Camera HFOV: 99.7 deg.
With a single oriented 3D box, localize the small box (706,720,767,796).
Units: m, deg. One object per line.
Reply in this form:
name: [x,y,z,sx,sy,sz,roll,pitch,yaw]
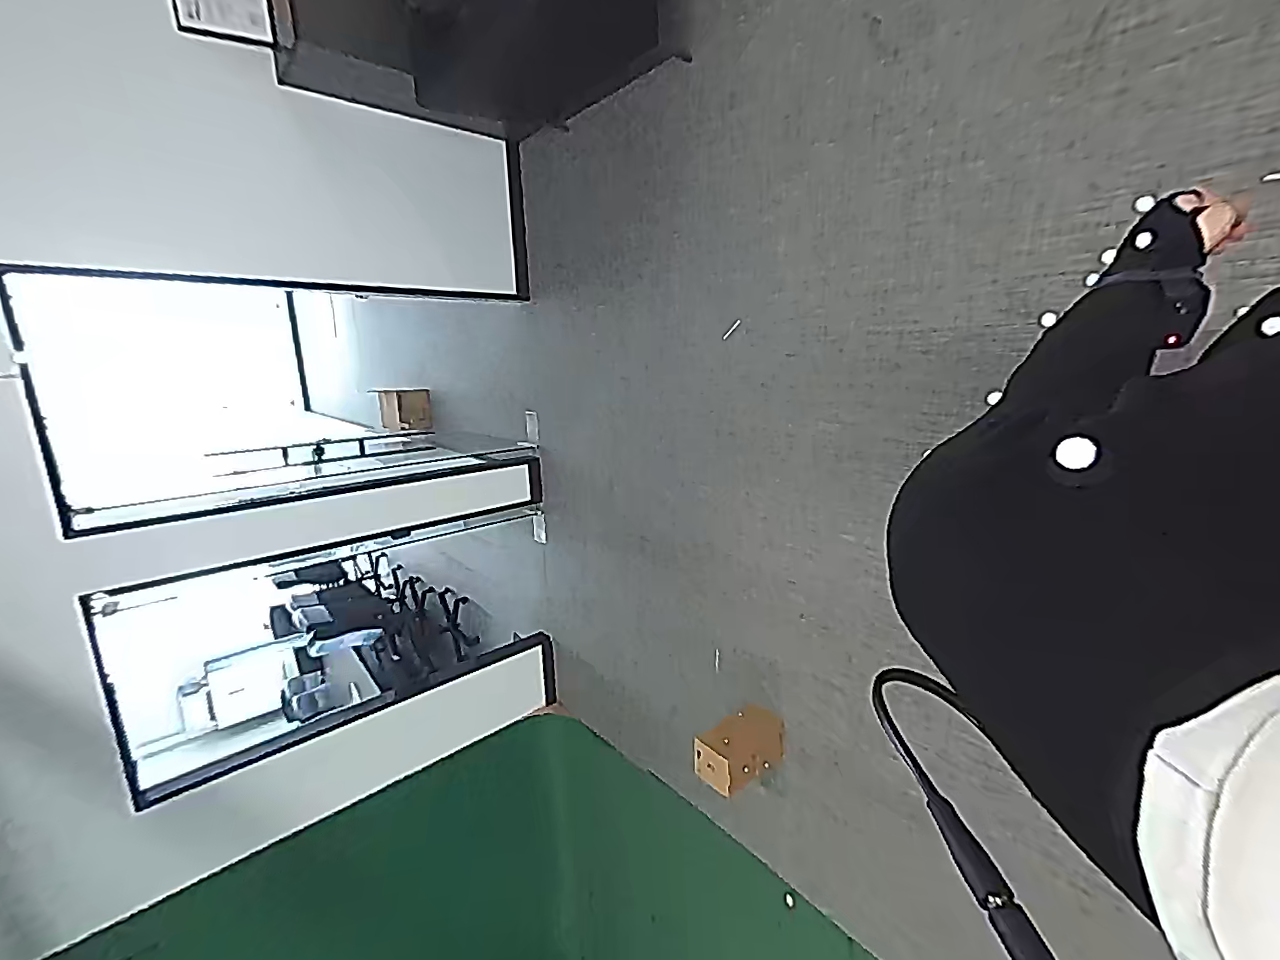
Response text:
small box: [0.375,1.069,2.097,0.179,0.176,0.168,13,109,48]
